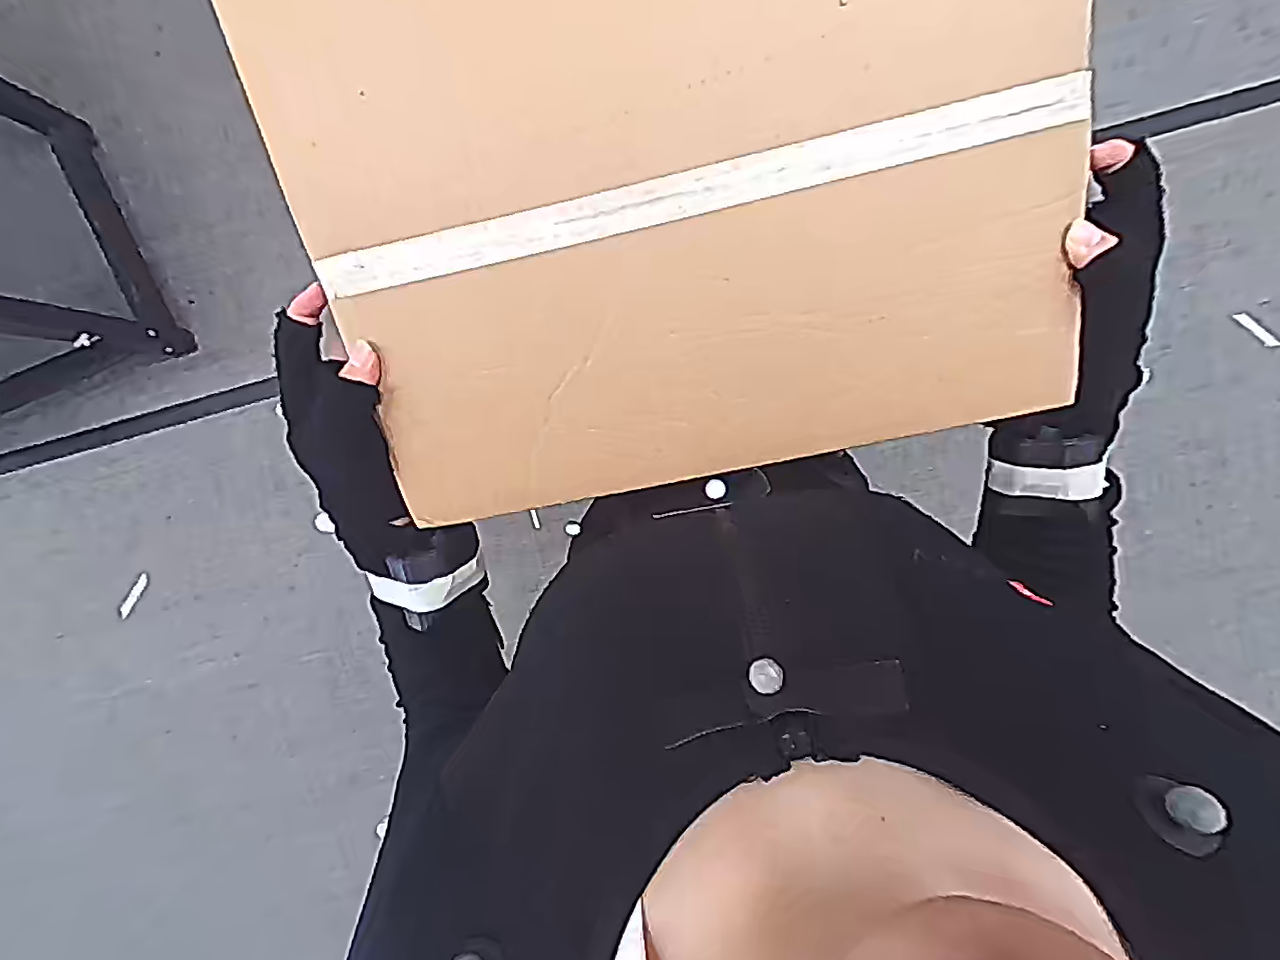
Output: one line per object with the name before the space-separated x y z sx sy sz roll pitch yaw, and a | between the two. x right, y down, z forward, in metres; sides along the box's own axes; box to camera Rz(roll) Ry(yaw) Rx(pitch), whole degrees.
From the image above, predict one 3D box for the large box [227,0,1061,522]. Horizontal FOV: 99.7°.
large box | 0.022 -0.202 0.434 0.408 0.320 0.320 -11 109 5
